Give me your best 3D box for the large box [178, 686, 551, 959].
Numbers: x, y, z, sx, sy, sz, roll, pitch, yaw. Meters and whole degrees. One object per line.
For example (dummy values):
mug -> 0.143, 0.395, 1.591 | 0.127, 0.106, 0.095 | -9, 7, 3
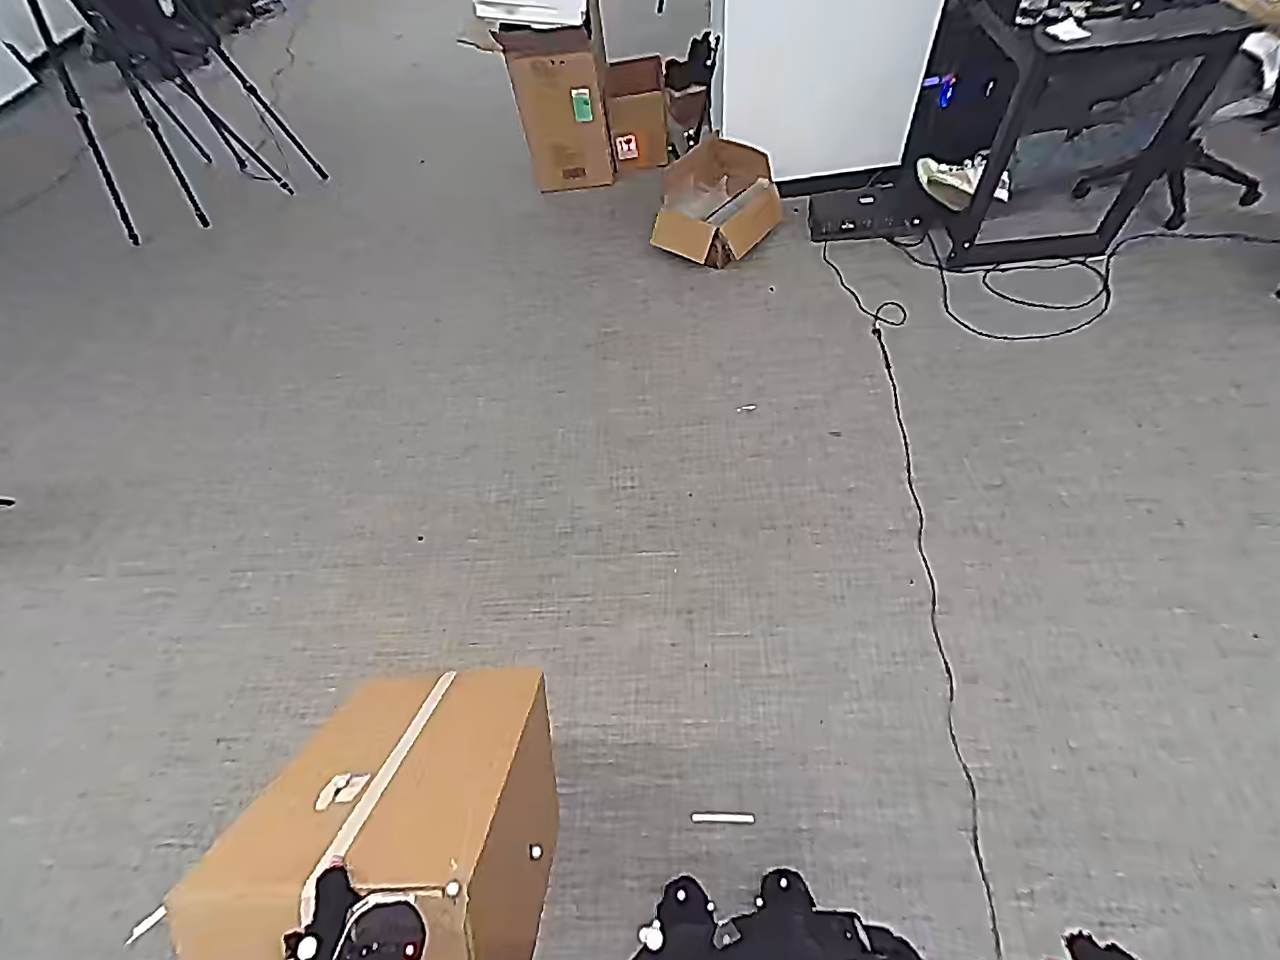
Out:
large box -> -0.317, 0.548, 0.771 | 0.320, 0.320, 0.408 | -5, 12, 1
